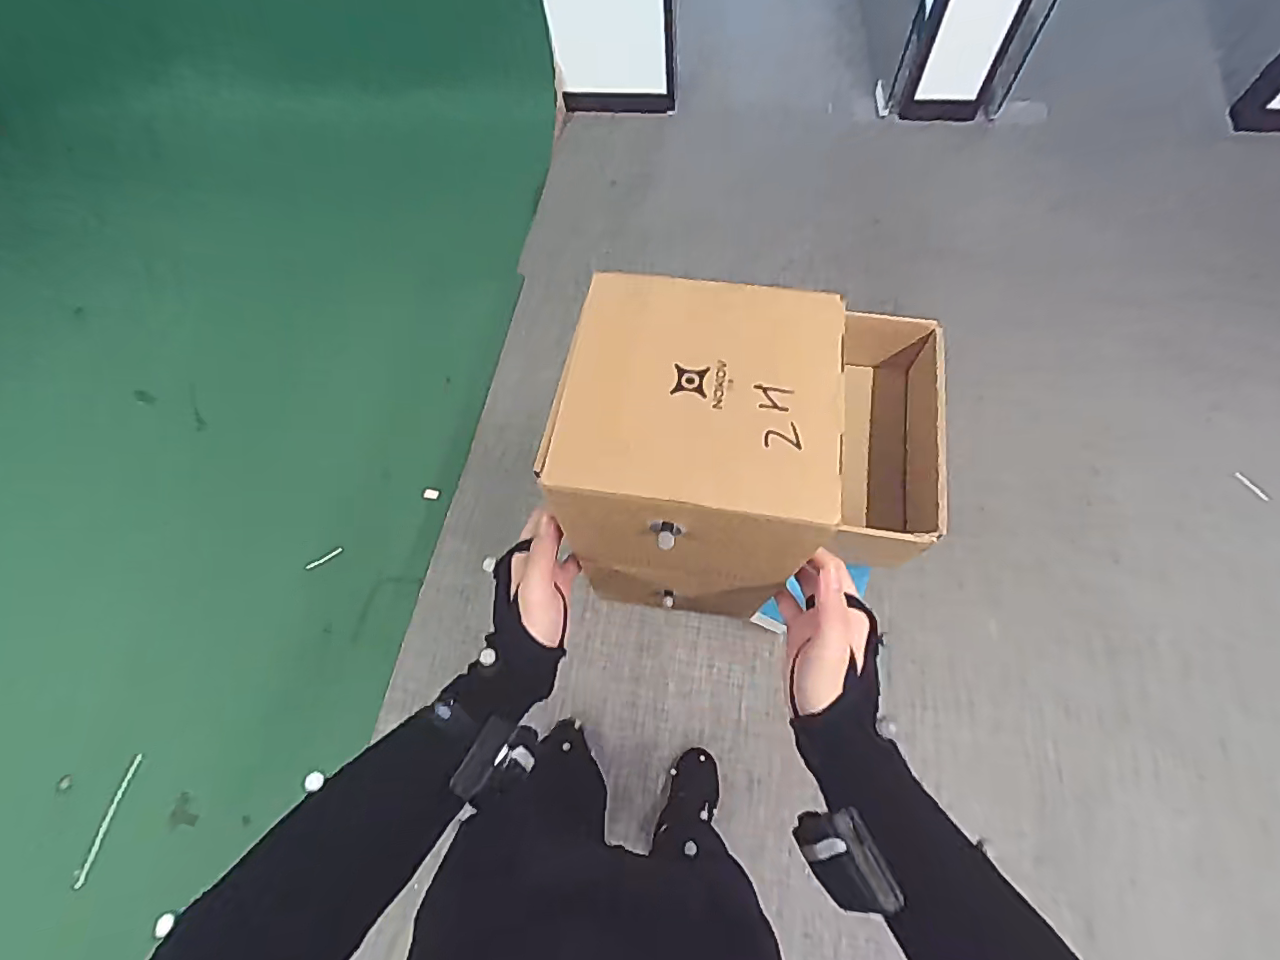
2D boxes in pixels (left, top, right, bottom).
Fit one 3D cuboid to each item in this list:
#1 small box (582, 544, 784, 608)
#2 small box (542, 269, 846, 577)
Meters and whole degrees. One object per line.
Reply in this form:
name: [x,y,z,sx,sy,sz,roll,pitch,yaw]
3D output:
small box: [0.049,0.033,0.566,0.179,0.176,0.168,6,67,5]
small box: [0.043,-0.031,0.414,0.179,0.176,0.168,8,68,5]
